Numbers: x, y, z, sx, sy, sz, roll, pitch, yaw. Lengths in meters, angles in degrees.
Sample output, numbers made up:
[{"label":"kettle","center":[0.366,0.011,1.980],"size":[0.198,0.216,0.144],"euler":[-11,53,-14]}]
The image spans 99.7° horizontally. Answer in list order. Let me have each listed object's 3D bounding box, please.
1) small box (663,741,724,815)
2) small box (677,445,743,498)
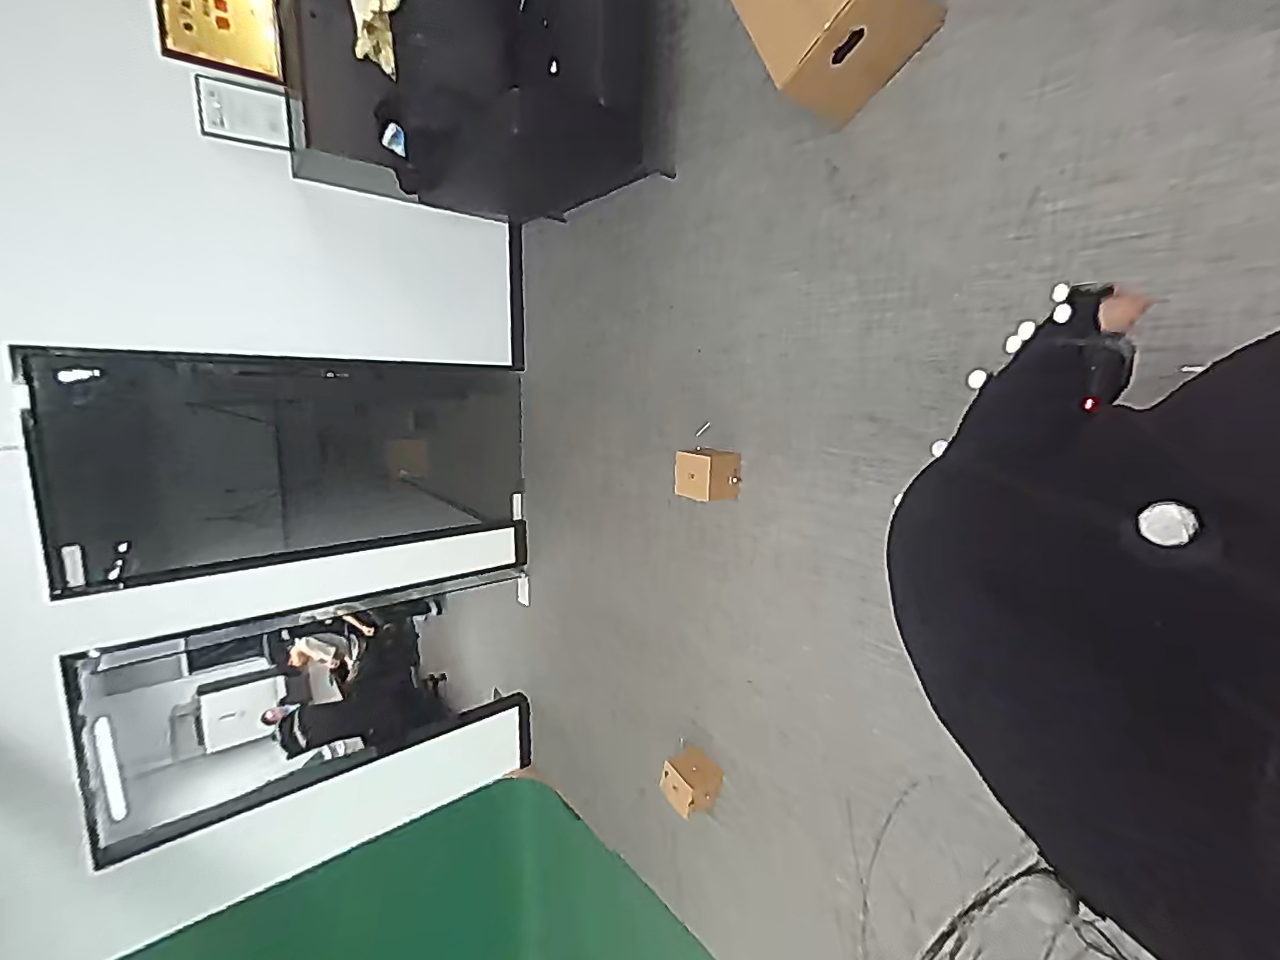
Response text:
[{"label":"small box","center":[0.223,1.226,2.241],"size":[0.179,0.176,0.168],"euler":[30,118,44]},{"label":"small box","center":[0.258,-0.037,2.011],"size":[0.179,0.176,0.168],"euler":[13,107,48]}]
